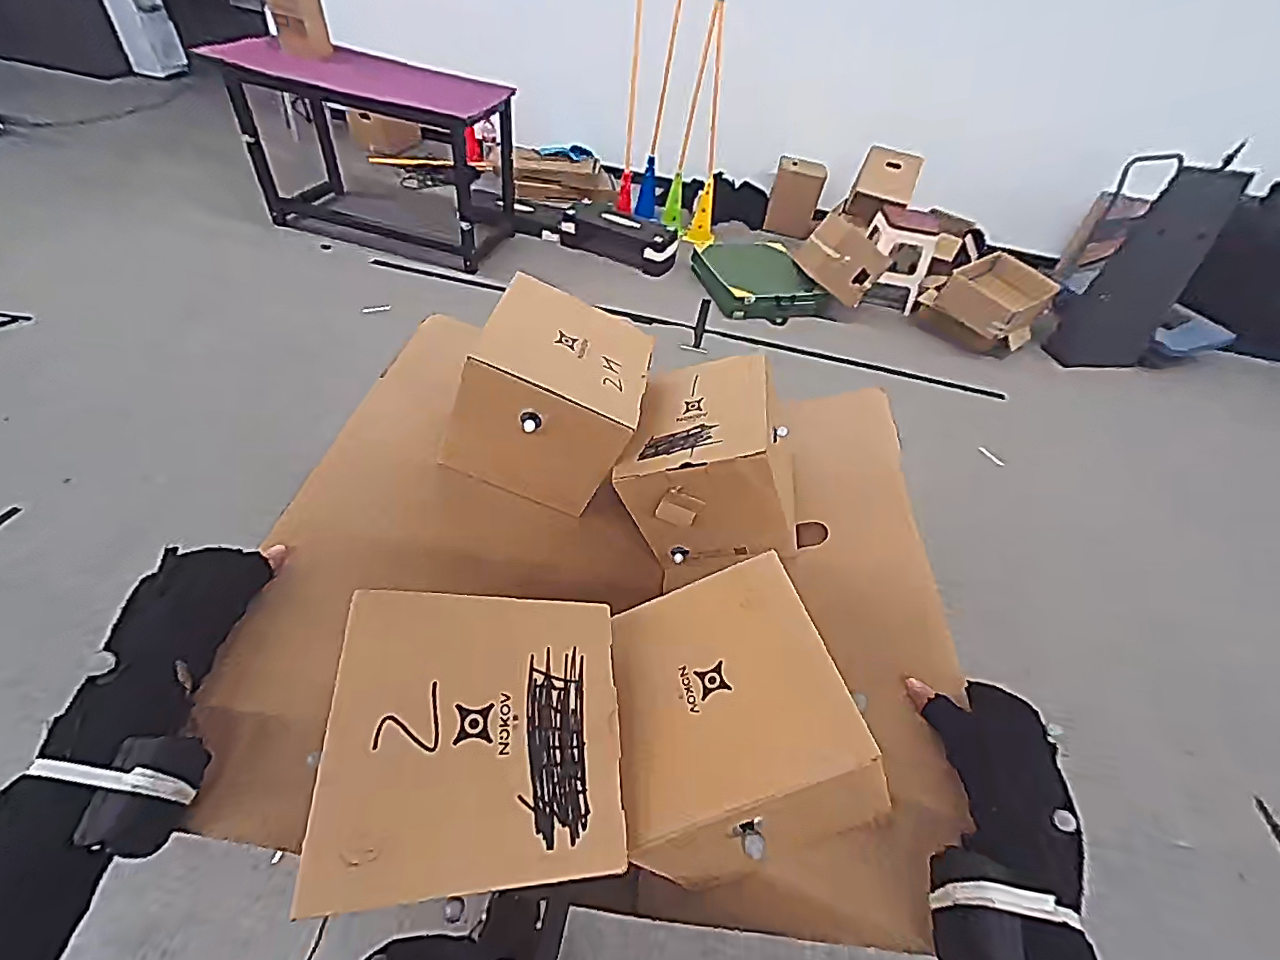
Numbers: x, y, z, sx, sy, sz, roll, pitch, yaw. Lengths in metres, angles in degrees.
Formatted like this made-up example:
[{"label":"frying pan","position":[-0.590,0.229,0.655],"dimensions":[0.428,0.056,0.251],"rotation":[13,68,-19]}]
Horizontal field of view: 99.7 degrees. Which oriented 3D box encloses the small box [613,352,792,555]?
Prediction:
[{"label":"small box","position":[0.086,-0.022,0.658],"dimensions":[0.168,0.176,0.179],"rotation":[-9,43,21]}]
